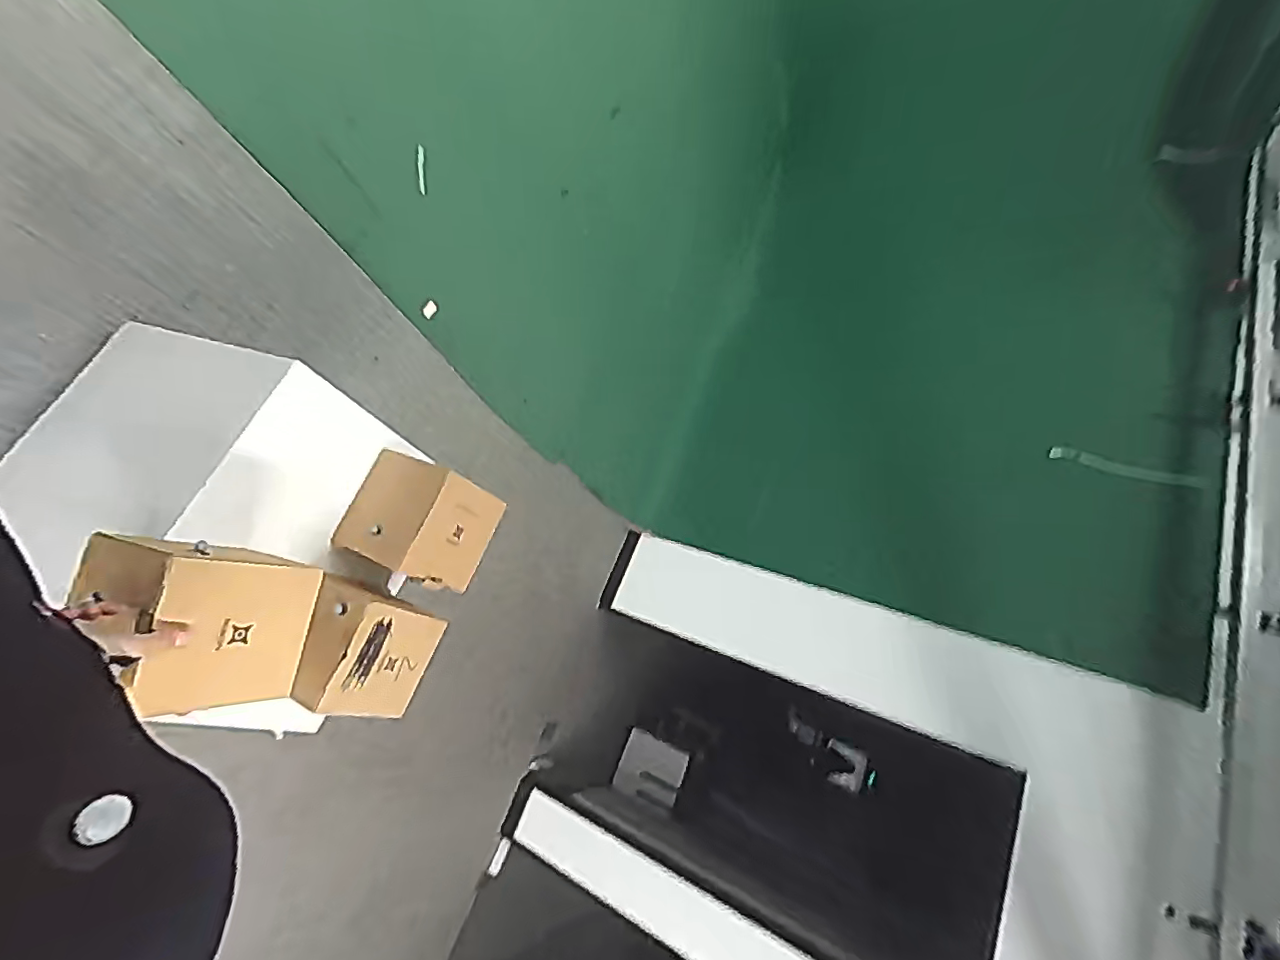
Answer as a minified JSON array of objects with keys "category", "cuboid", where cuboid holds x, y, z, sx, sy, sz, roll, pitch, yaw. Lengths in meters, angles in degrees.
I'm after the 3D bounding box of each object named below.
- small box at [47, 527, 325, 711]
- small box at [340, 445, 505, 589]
[{"category":"small box","cuboid":[-0.529,0.156,0.645,0.179,0.176,0.168,30,69,-64]},{"category":"small box","cuboid":[-0.373,0.063,0.930,0.179,0.176,0.168,-67,154,-15]}]
